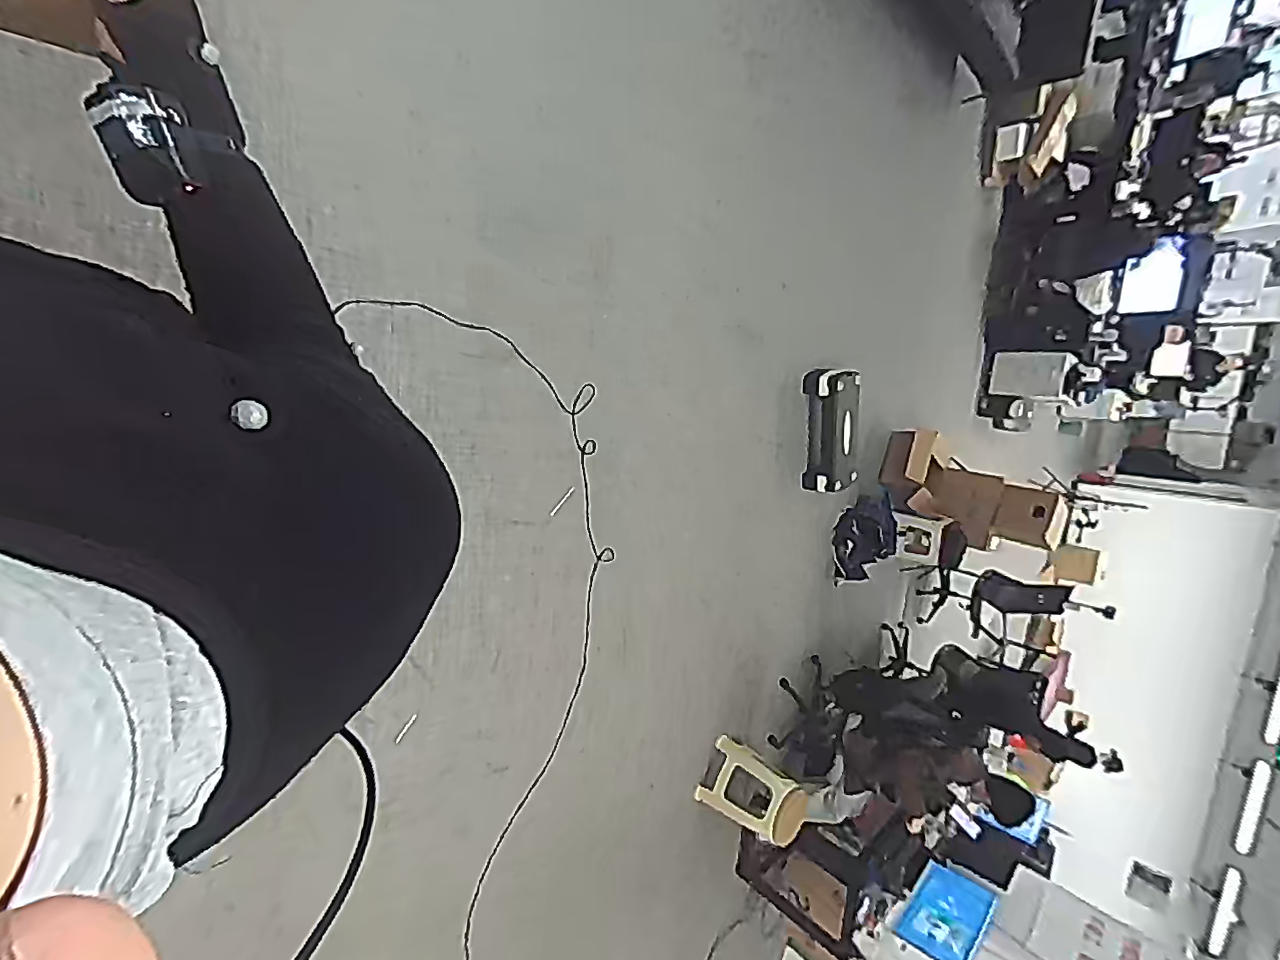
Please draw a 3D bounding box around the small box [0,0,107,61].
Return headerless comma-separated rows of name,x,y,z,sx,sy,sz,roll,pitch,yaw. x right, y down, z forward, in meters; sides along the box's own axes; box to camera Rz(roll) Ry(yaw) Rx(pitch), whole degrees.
small box,-0.413,-0.380,0.290,0.168,0.176,0.179,-6,100,-41
